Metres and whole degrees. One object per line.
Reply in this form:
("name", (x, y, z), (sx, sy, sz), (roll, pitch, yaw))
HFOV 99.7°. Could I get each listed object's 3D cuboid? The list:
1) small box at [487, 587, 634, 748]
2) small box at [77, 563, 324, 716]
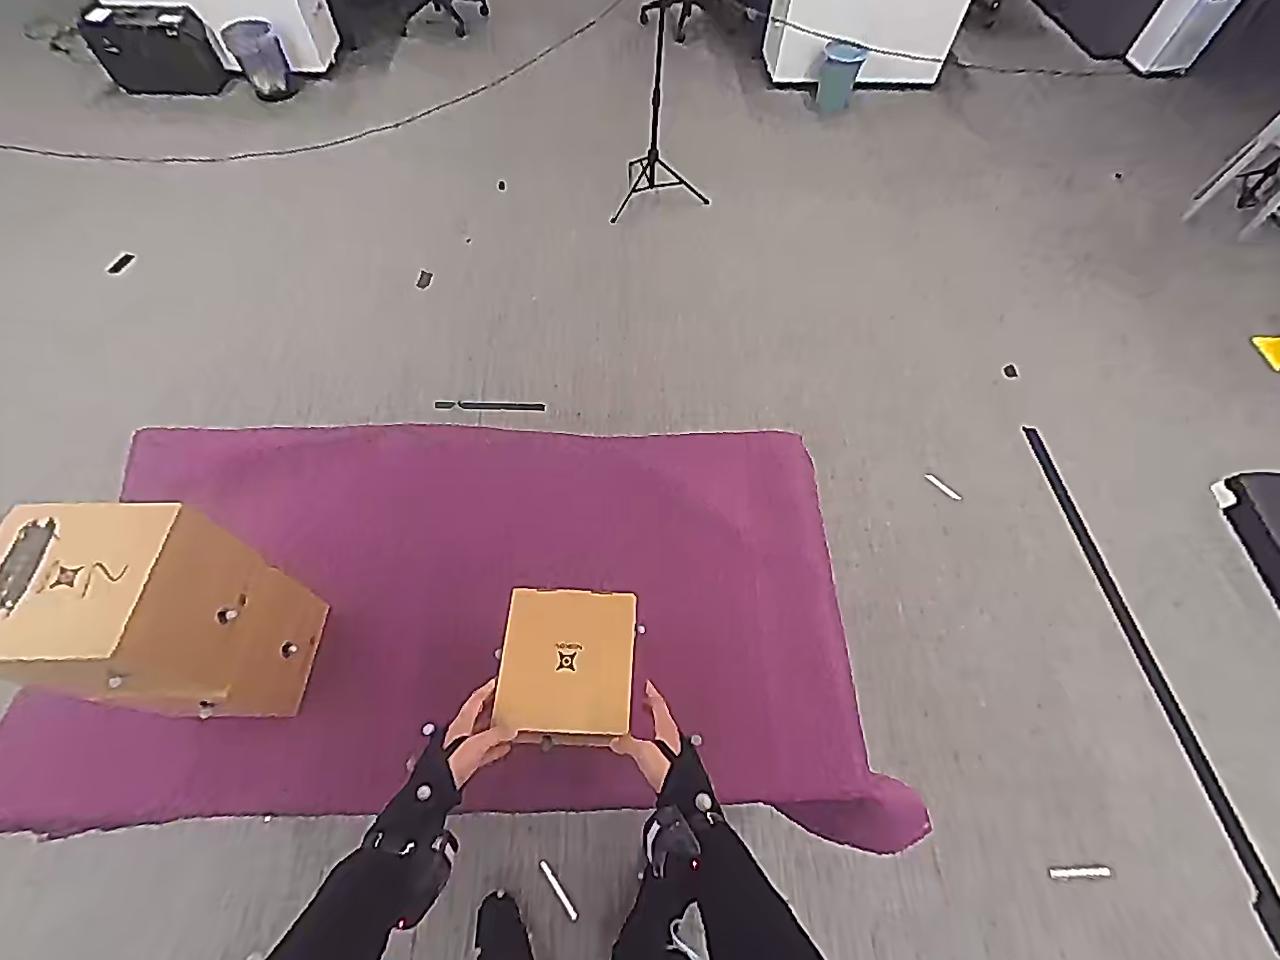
("small box", (-0.095, 0.262, 0.741), (0.168, 0.176, 0.179), (3, 58, 0))
("small box", (-0.574, 0.223, 0.742), (0.179, 0.176, 0.168), (2, 59, -2))
